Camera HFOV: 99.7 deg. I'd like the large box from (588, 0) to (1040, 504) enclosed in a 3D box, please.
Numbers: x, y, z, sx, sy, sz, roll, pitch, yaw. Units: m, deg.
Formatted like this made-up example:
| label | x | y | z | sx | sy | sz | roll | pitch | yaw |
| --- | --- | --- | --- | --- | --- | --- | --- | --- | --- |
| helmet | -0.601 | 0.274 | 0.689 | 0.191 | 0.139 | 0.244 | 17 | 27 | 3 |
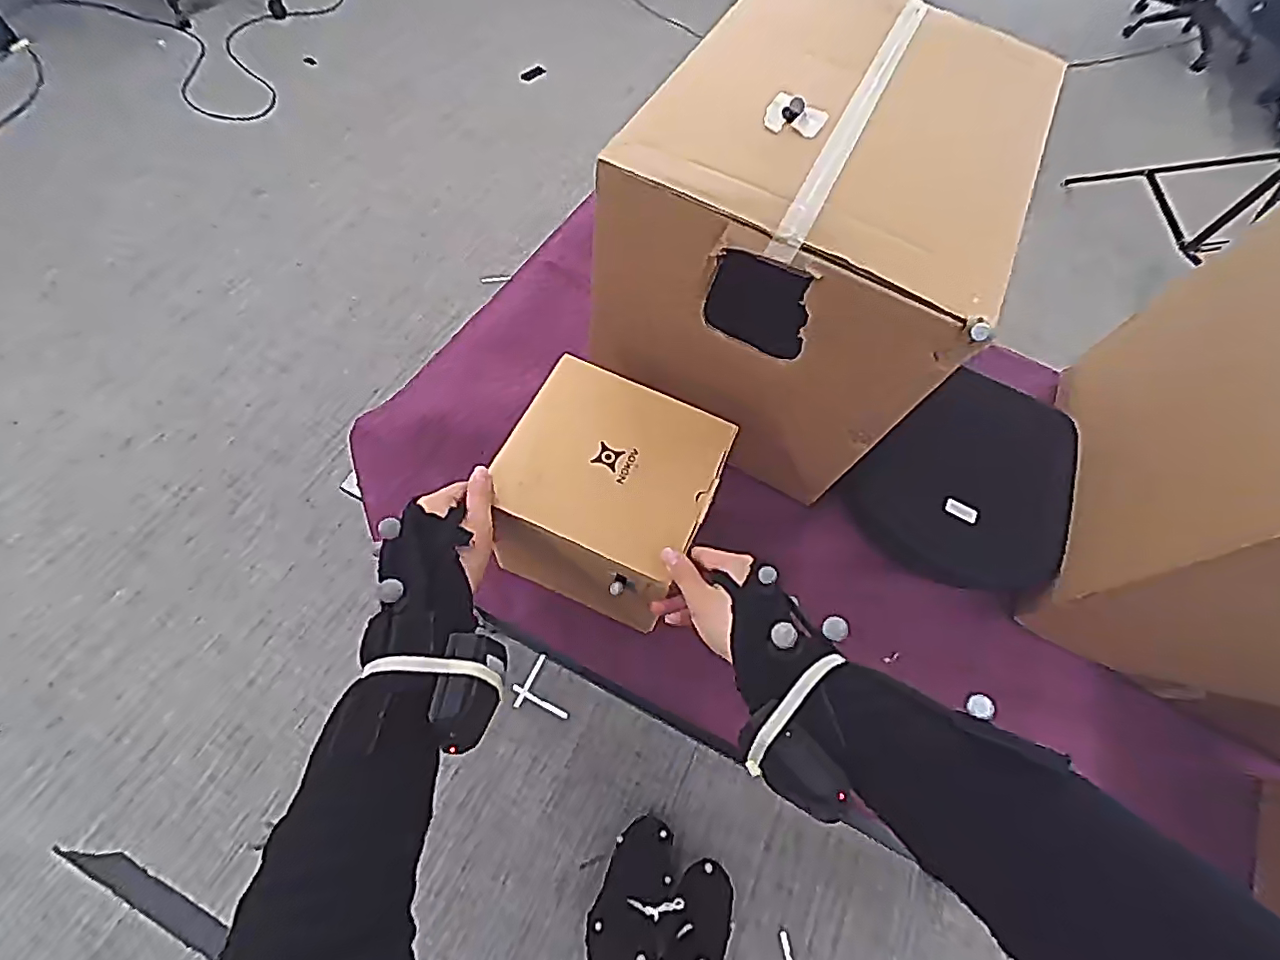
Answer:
| label | x | y | z | sx | sy | sz | roll | pitch | yaw |
| --- | --- | --- | --- | --- | --- | --- | --- | --- | --- |
| large box | 0.168 | -0.250 | 0.613 | 0.320 | 0.320 | 0.408 | 26 | 66 | 6 |
